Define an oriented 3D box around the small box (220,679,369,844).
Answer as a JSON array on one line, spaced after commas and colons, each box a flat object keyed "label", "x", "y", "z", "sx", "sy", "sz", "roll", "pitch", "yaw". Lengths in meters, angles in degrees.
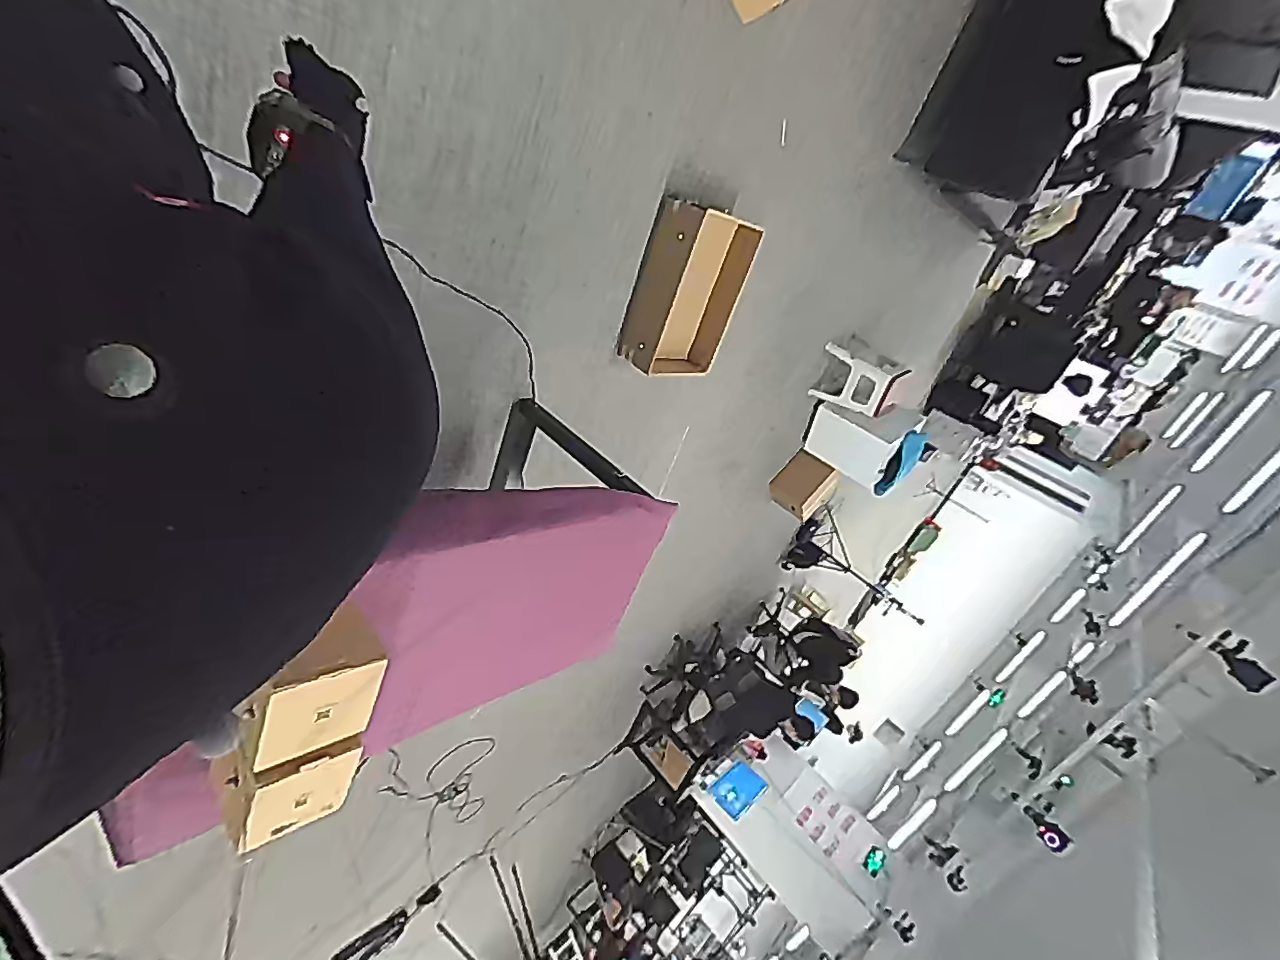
[{"label": "small box", "x": -0.619, "y": 0.482, "z": 0.962, "sx": 0.168, "sy": 0.176, "sz": 0.179, "roll": 0, "pitch": 122, "yaw": -52}]
